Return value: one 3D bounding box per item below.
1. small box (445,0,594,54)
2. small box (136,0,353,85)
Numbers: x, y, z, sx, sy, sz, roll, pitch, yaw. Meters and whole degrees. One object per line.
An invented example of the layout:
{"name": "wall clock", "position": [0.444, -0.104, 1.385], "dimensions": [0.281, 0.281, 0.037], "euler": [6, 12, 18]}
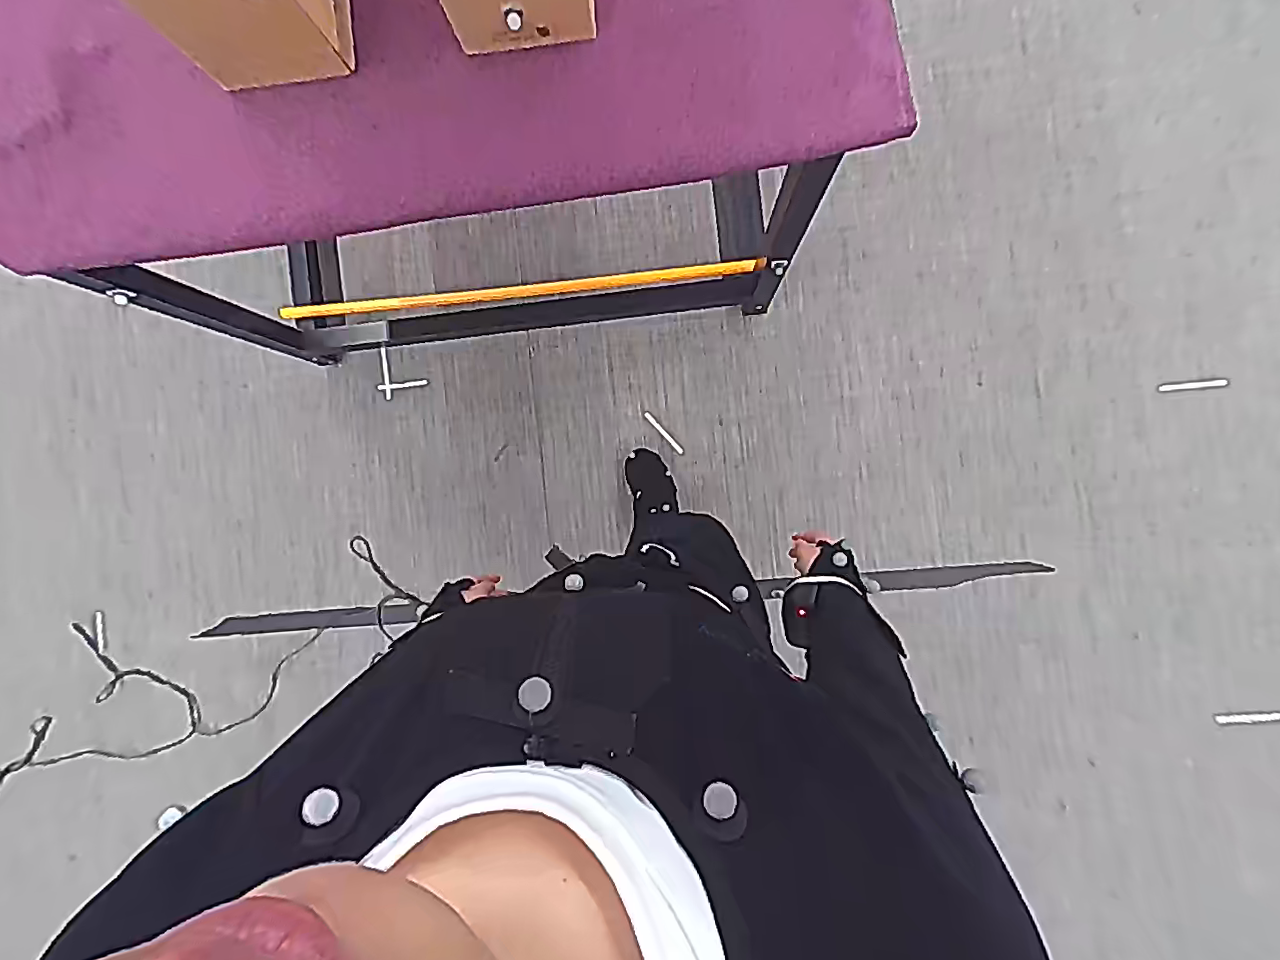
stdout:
{"name": "small box", "position": [-0.145, -0.618, 0.587], "dimensions": [0.168, 0.176, 0.179], "euler": [-4, 89, 4]}
{"name": "small box", "position": [-0.457, -0.585, 0.607], "dimensions": [0.179, 0.176, 0.168], "euler": [-5, 89, 3]}
